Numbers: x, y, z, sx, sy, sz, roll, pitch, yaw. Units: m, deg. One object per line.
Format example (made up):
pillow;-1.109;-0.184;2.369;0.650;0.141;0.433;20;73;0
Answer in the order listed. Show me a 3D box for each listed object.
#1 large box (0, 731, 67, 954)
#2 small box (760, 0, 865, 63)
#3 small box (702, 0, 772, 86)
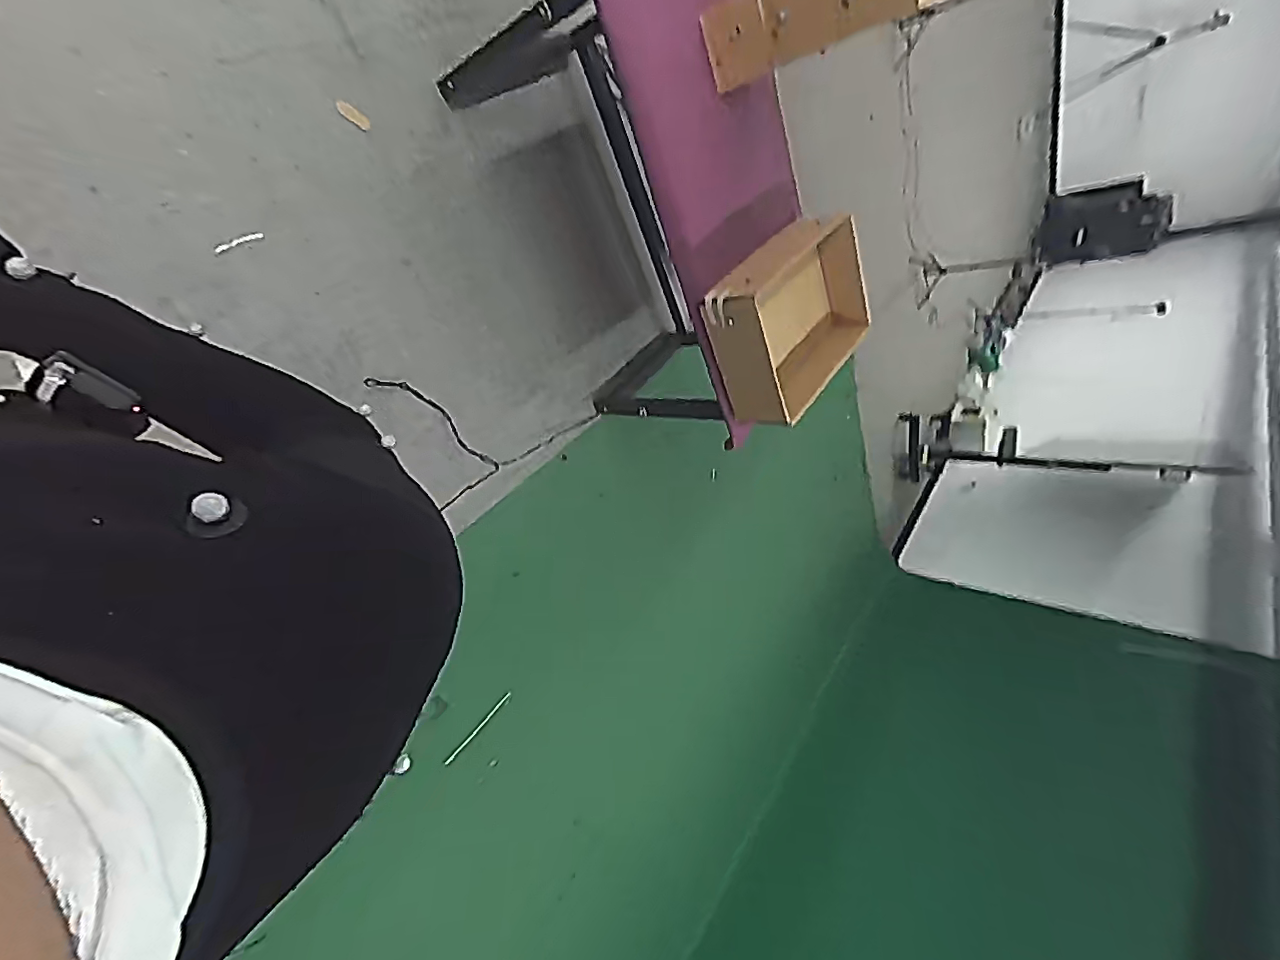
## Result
large box;-1.334;0.653;0.930;0.408;0.320;0.320;28;78;-47
small box;0.397;-1.102;1.247;0.179;0.176;0.168;-44;126;-32
small box;0.273;-1.126;1.353;0.179;0.176;0.168;-49;128;-30
